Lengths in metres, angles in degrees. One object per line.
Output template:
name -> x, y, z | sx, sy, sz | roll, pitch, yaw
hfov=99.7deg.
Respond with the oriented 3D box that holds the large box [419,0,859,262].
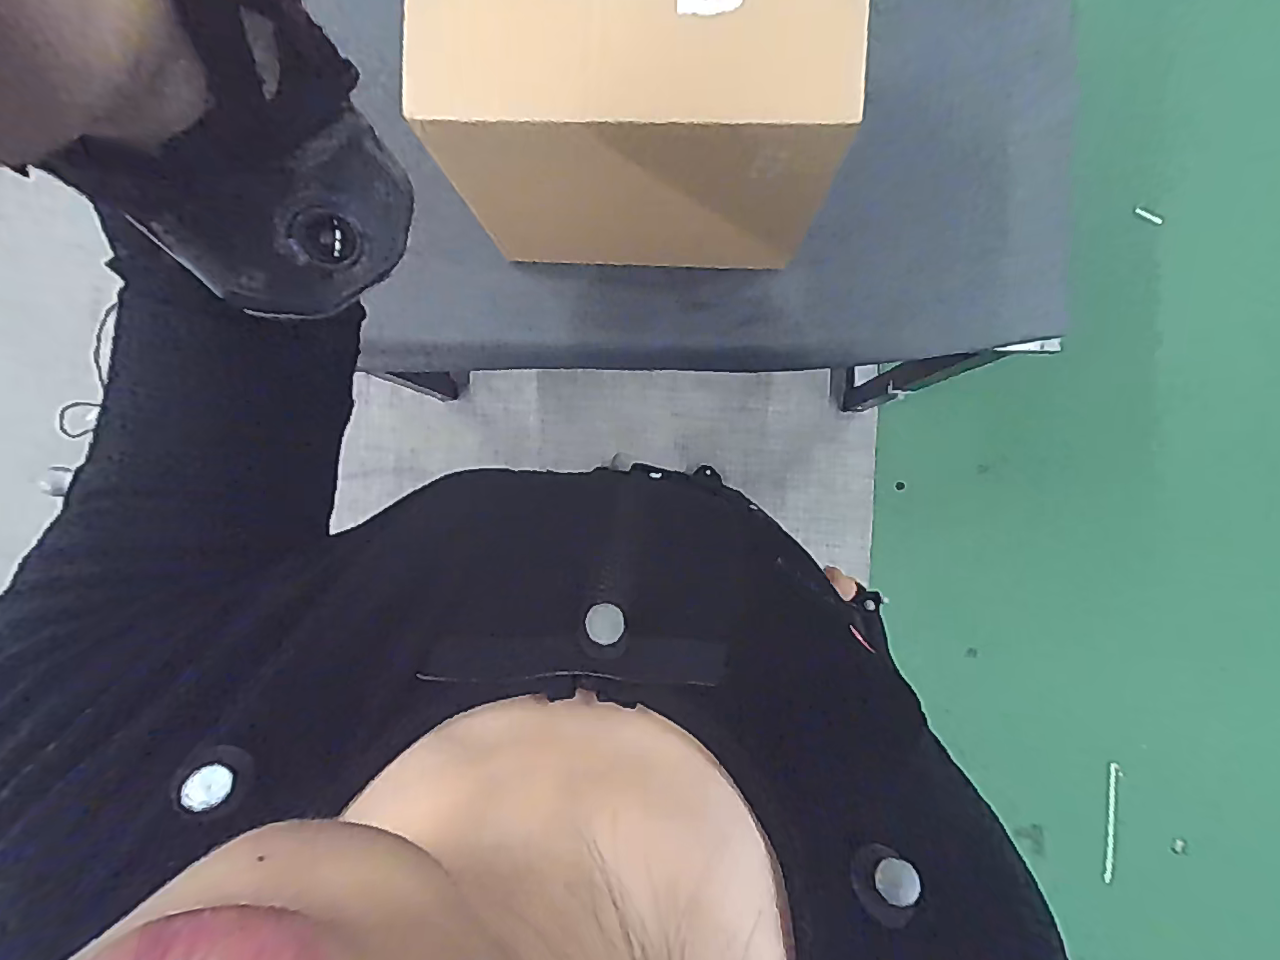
large box -> 0.003, -0.470, 0.637 | 0.408, 0.320, 0.320 | 2, 90, 2
